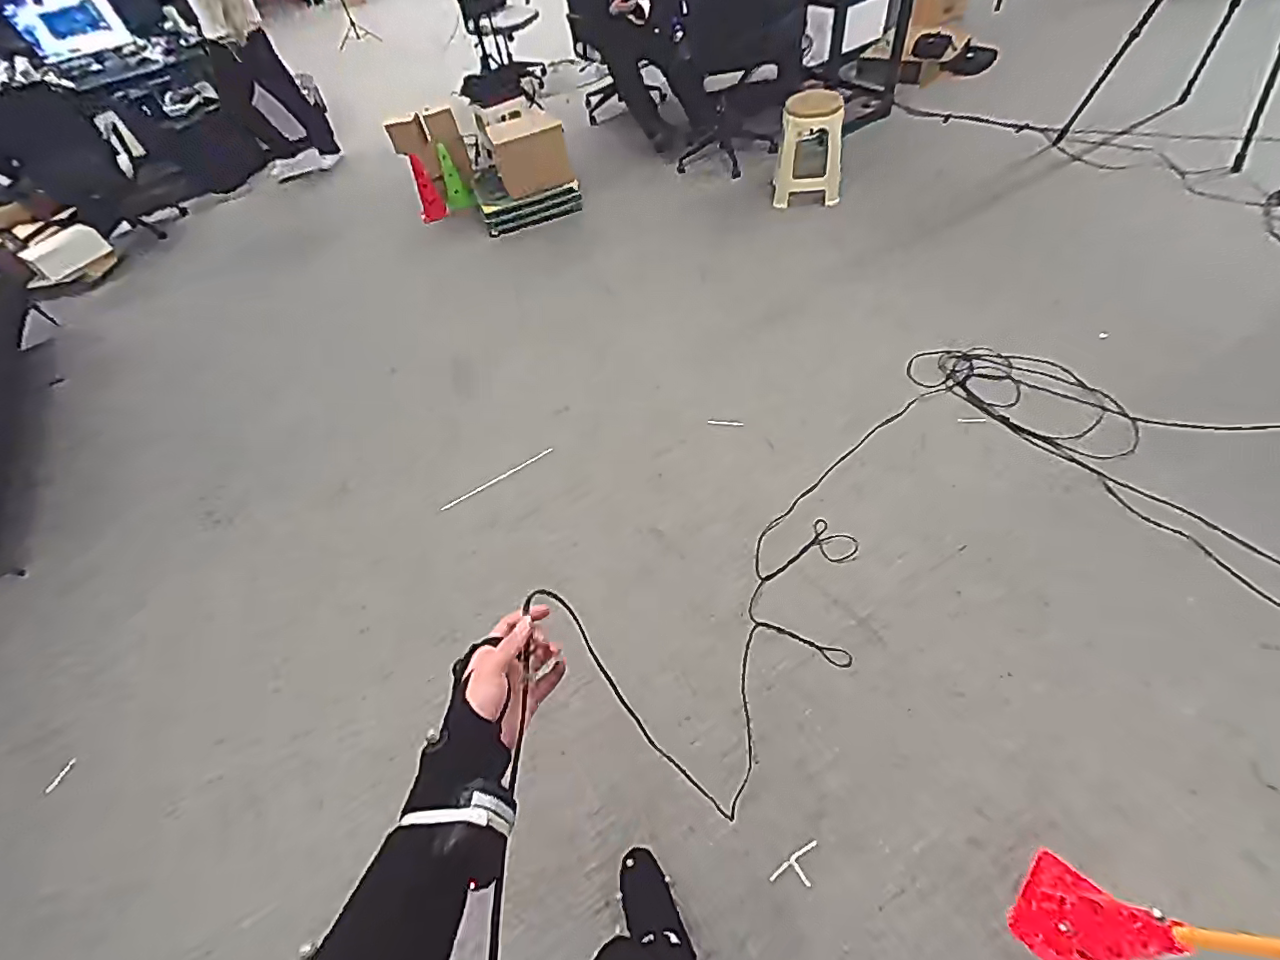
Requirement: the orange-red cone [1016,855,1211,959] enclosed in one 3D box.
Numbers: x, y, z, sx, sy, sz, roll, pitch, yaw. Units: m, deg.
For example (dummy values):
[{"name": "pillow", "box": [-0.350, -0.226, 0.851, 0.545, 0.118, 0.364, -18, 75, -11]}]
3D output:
[{"name": "orange-red cone", "box": [0.897, 0.829, 0.991, 0.198, 0.360, 0.199, 35, 64, 29]}]
